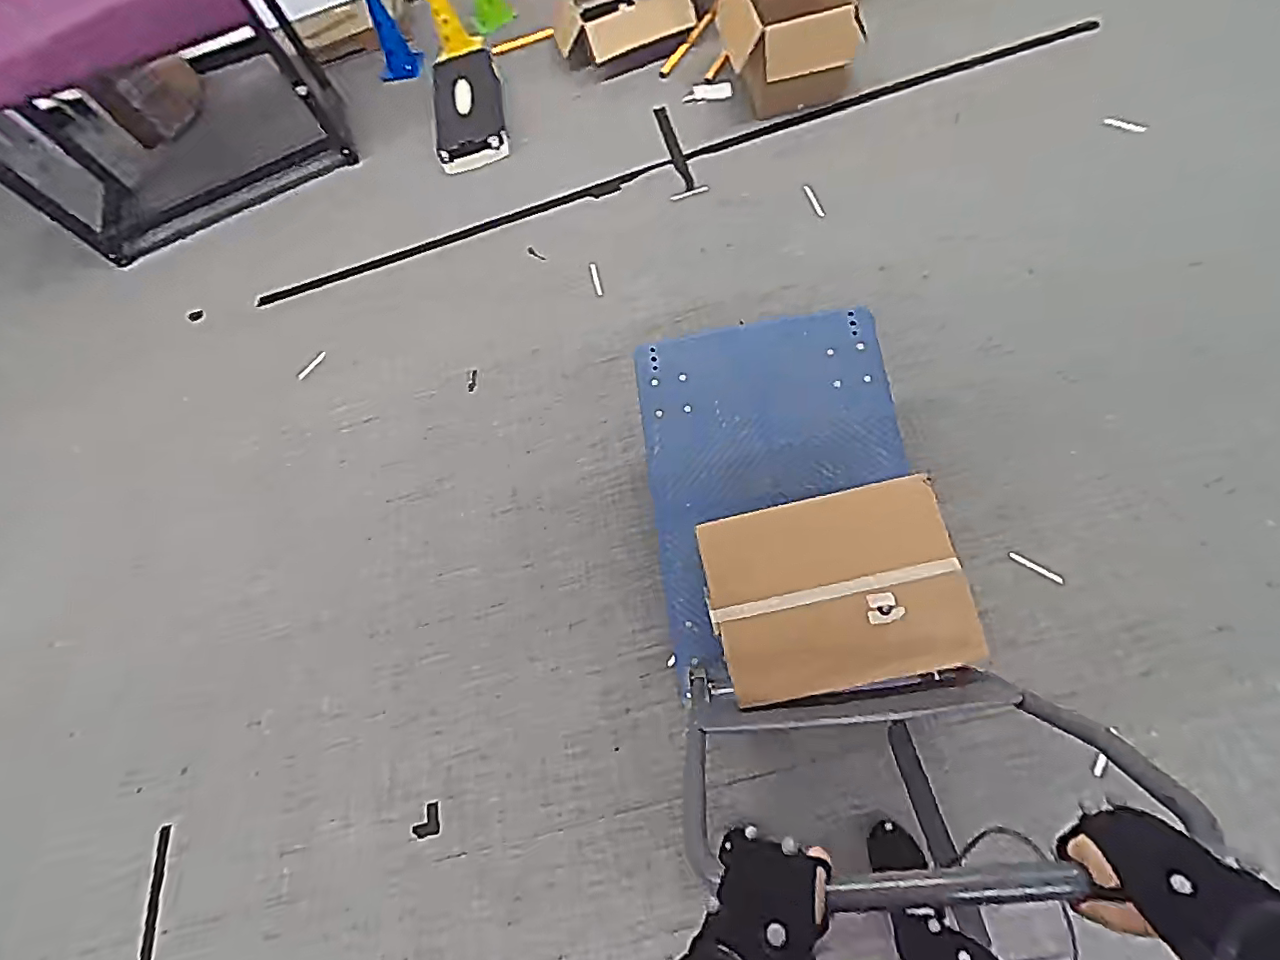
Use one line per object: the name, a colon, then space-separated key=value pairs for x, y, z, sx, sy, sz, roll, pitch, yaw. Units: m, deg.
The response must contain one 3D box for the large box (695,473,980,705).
large box: x=0.342 y=0.211 z=1.061 sx=0.408 sy=0.320 sz=0.320 roll=-14 pitch=79 yaw=4
